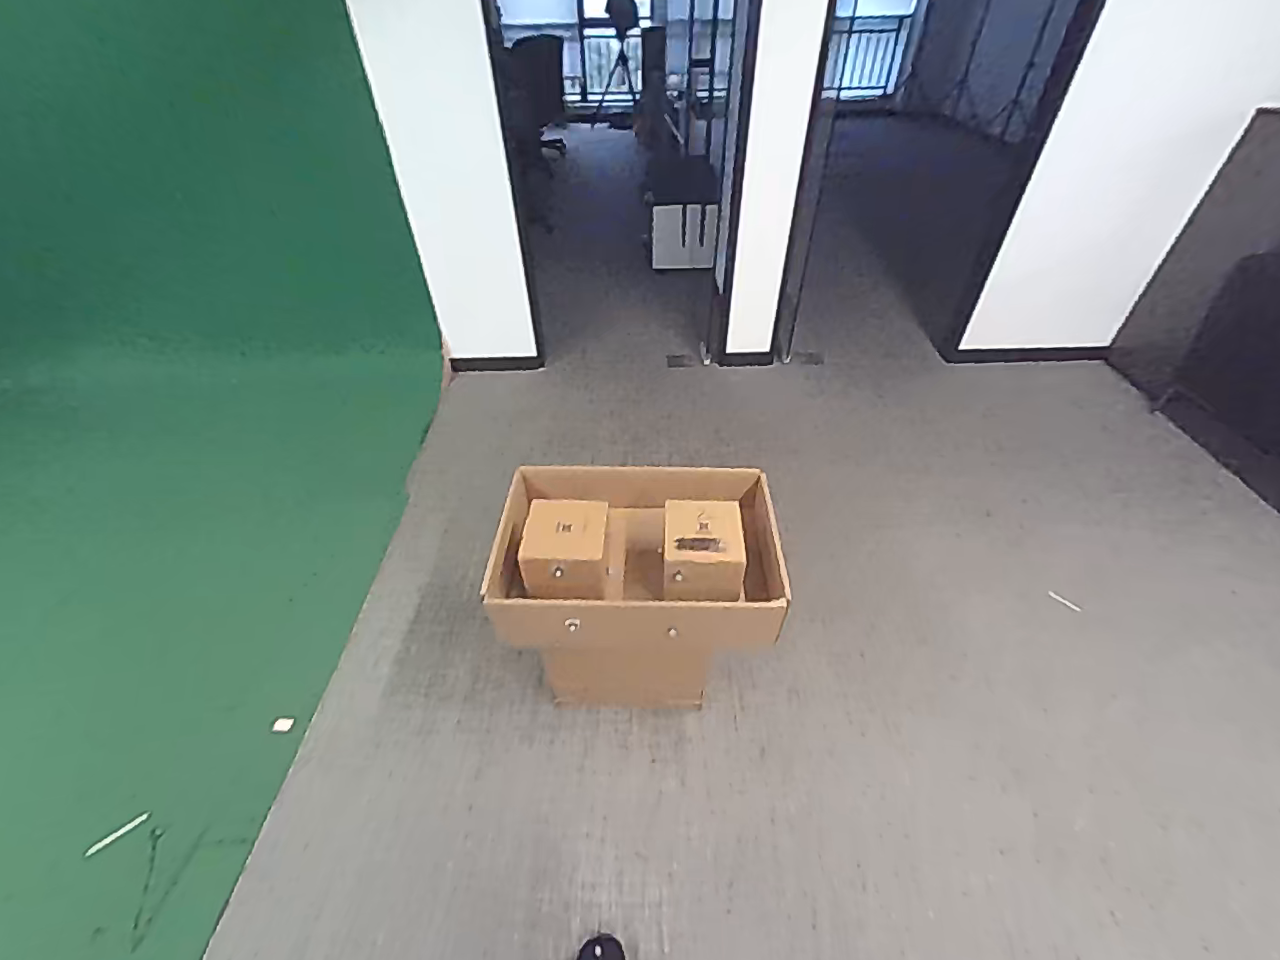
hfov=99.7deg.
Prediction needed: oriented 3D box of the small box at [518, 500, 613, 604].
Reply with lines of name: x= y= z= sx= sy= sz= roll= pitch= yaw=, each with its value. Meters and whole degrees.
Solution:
small box: x=-0.158 y=0.162 z=1.209 sx=0.179 sy=0.176 sz=0.168 roll=2 pitch=44 yaw=2
